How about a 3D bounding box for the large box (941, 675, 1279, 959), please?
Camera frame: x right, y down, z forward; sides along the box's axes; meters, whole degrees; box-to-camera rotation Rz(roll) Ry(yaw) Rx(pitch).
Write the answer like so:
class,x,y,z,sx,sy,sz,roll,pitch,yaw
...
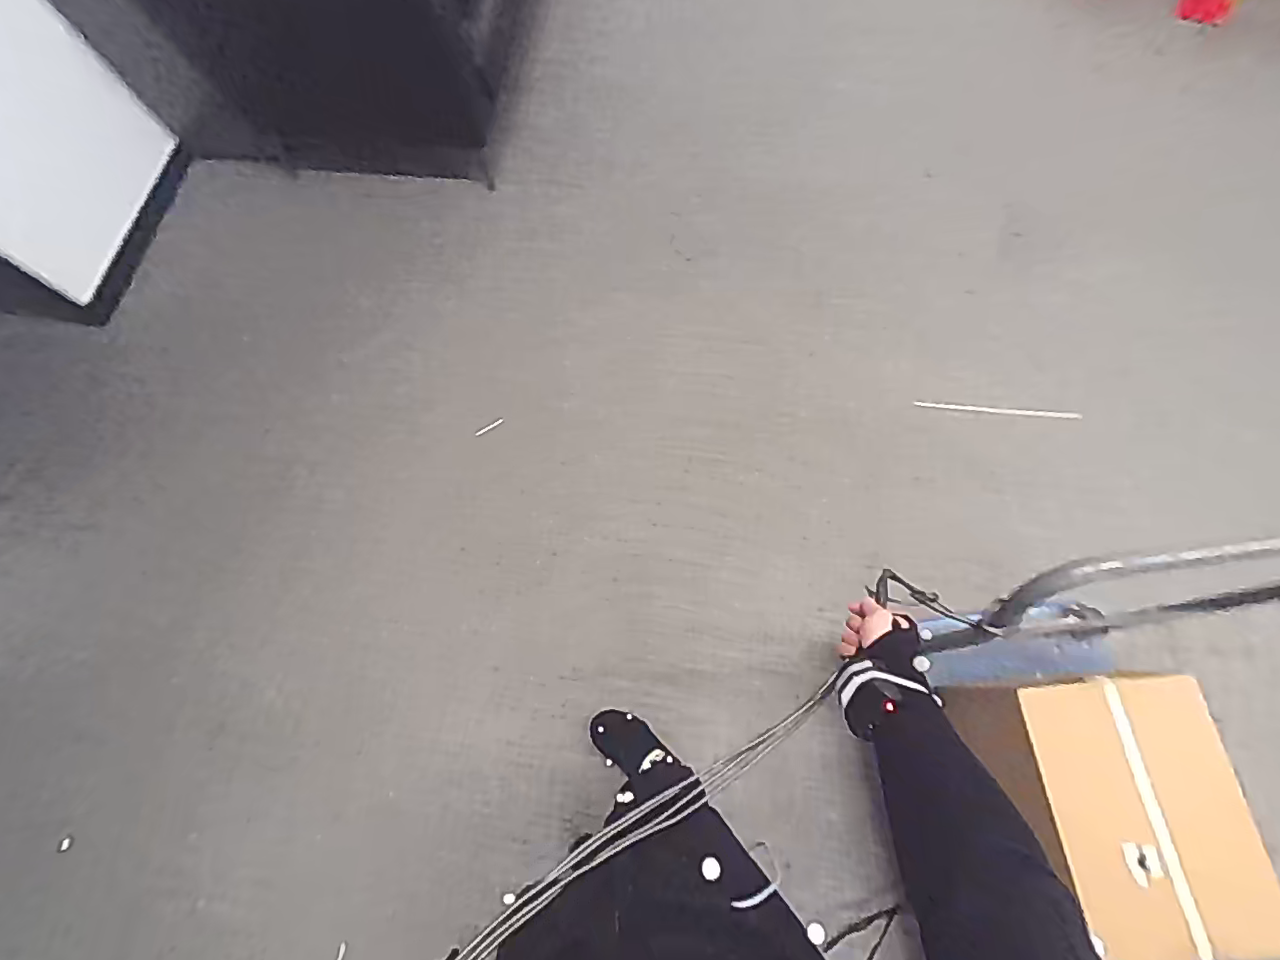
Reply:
class,x,y,z,sx,sy,sz,roll,pitch,yaw
large box,0.838,0.594,1.011,0.320,0.320,0.408,-6,71,1
